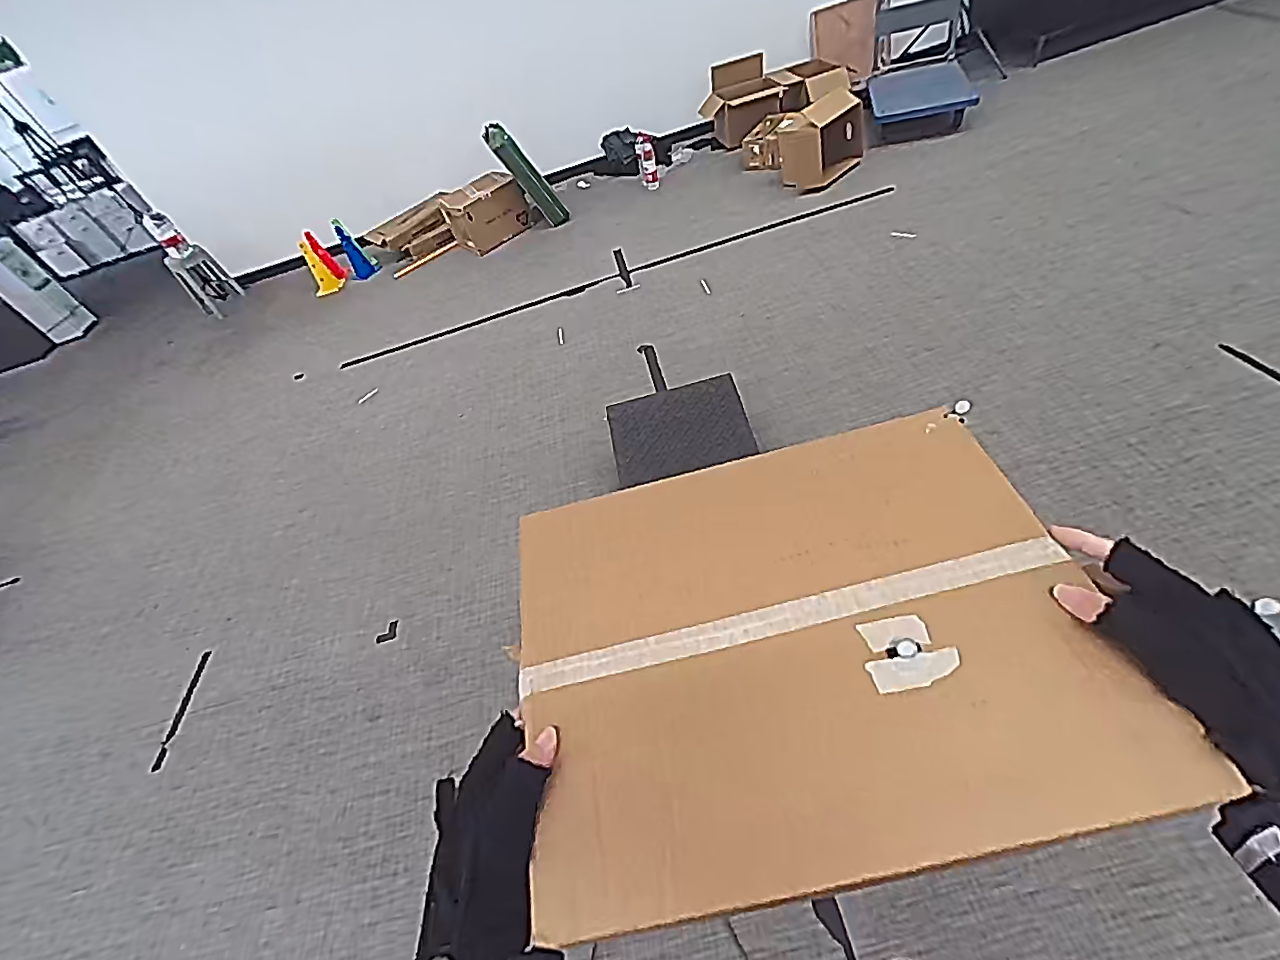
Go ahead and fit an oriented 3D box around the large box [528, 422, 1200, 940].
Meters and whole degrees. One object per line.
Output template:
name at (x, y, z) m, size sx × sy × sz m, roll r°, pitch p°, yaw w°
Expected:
large box at (0.138, 0.202, 0.528) m, size 0.408 × 0.320 × 0.320 m, roll -15°, pitch 51°, yaw 2°
